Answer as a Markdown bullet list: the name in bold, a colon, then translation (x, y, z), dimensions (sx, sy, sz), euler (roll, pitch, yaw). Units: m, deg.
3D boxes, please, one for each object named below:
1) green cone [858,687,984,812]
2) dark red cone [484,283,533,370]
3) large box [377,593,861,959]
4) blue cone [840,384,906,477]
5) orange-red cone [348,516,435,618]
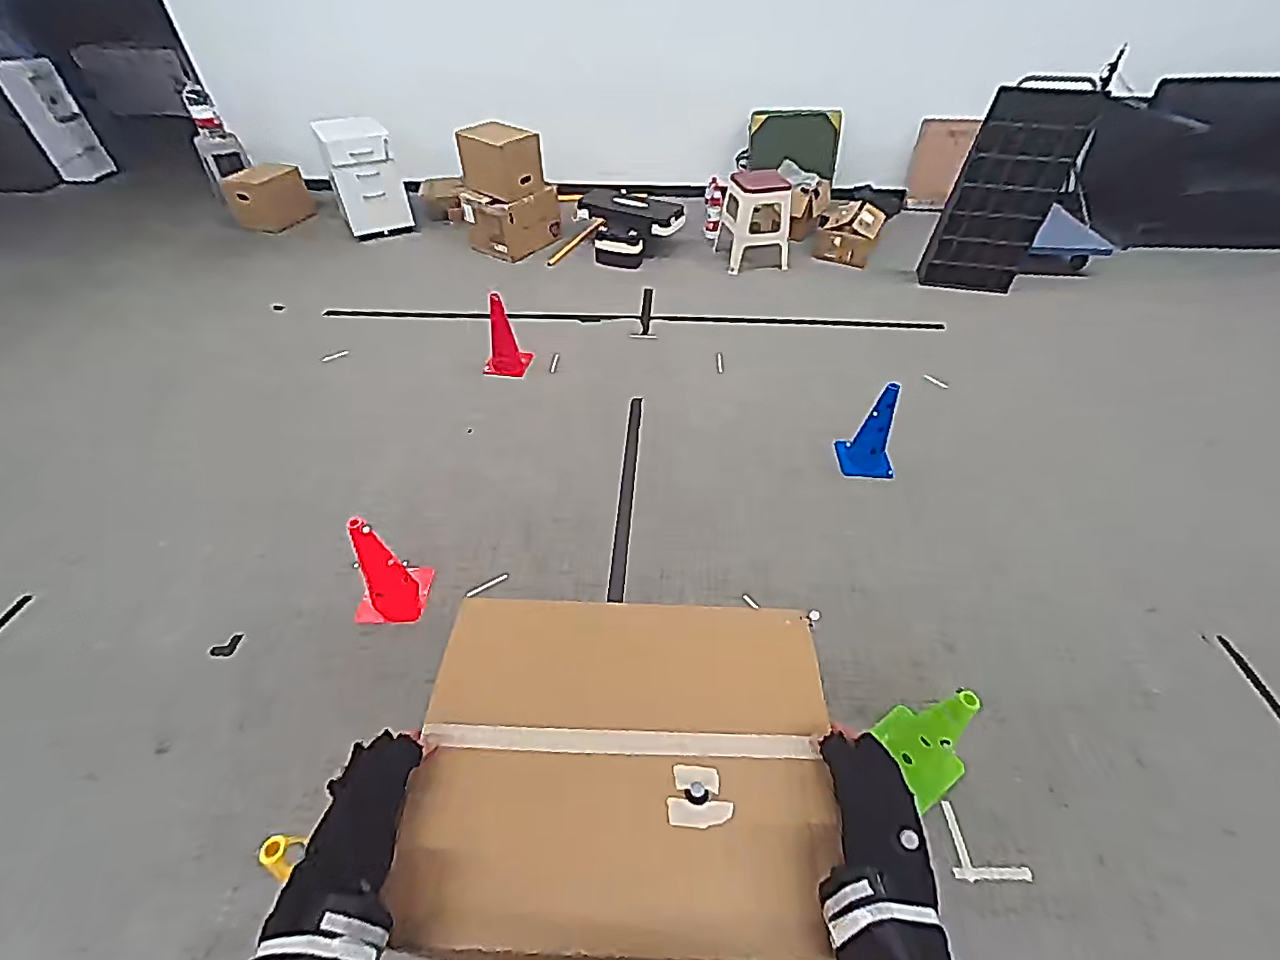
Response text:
- **green cone**: translation (0.692, 0.580, 1.251), dimensions (0.202, 0.368, 0.200), euler (-25, 51, -25)
- **dark red cone**: translation (-0.625, -0.706, 2.475), dimensions (0.201, 0.394, 0.202), euler (7, 46, 5)
- **large box**: translation (-0.017, 0.355, 0.644), dimensions (0.408, 0.320, 0.320), euler (2, 46, 1)
- **blue cone**: translation (0.907, -0.200, 2.042), dimensions (0.192, 0.380, 0.193), euler (5, 46, 4)
- **orange-red cone**: translation (-0.768, 0.233, 1.587), dimensions (0.198, 0.360, 0.199), euler (0, 47, 1)
